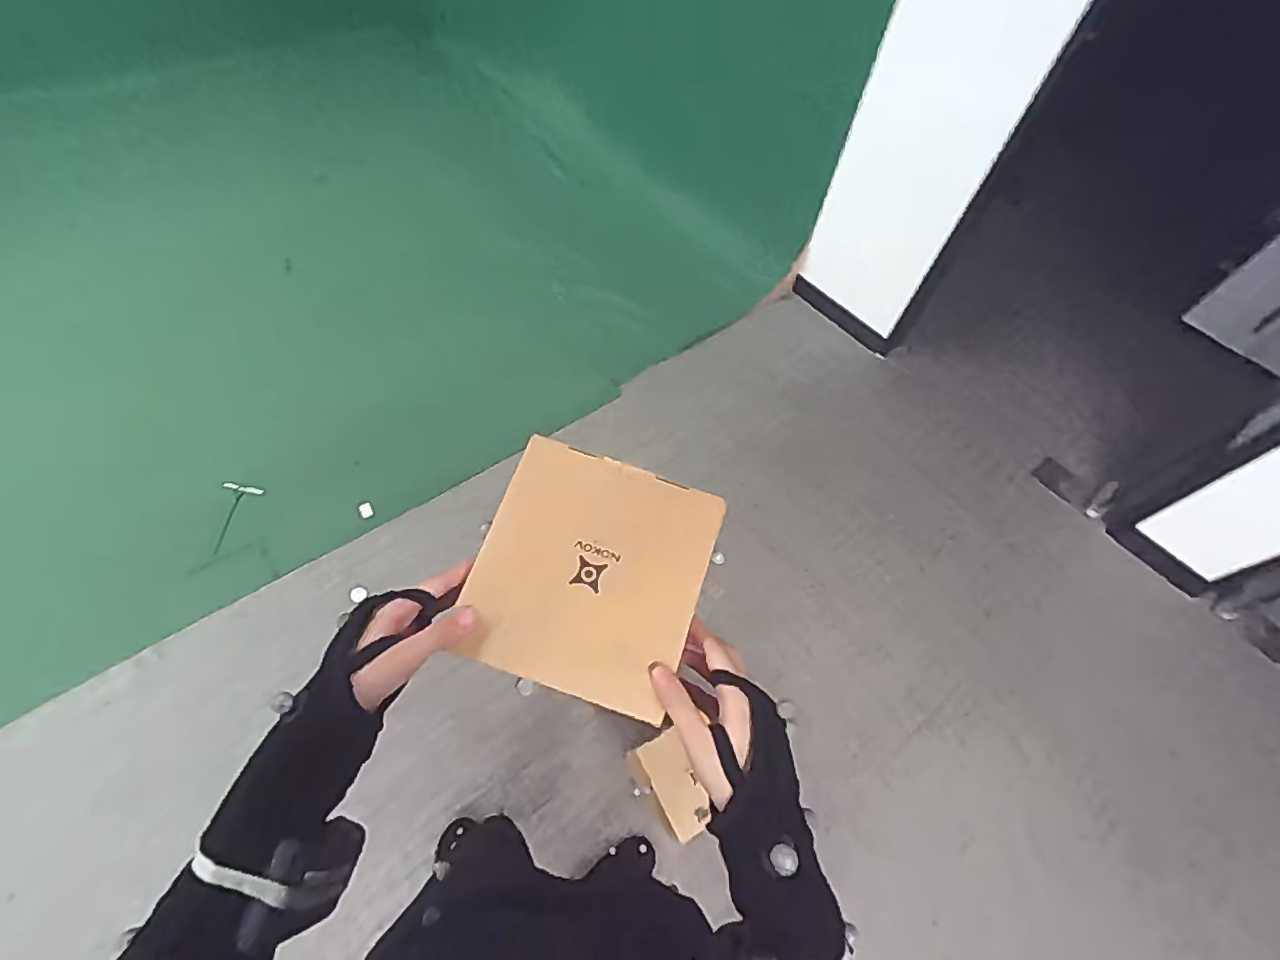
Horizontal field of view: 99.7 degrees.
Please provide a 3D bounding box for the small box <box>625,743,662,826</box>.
[{"bbox_3d":[0.077,0.658,1.234,0.179,0.176,0.168,-23,62,-17],"label":"small box"}]

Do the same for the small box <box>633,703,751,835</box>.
[{"bbox_3d":[0.093,0.584,1.087,0.168,0.176,0.179,-23,61,-17],"label":"small box"}]

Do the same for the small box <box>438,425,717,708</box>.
[{"bbox_3d":[-0.046,0.084,0.479,0.168,0.176,0.179,19,69,1],"label":"small box"}]
